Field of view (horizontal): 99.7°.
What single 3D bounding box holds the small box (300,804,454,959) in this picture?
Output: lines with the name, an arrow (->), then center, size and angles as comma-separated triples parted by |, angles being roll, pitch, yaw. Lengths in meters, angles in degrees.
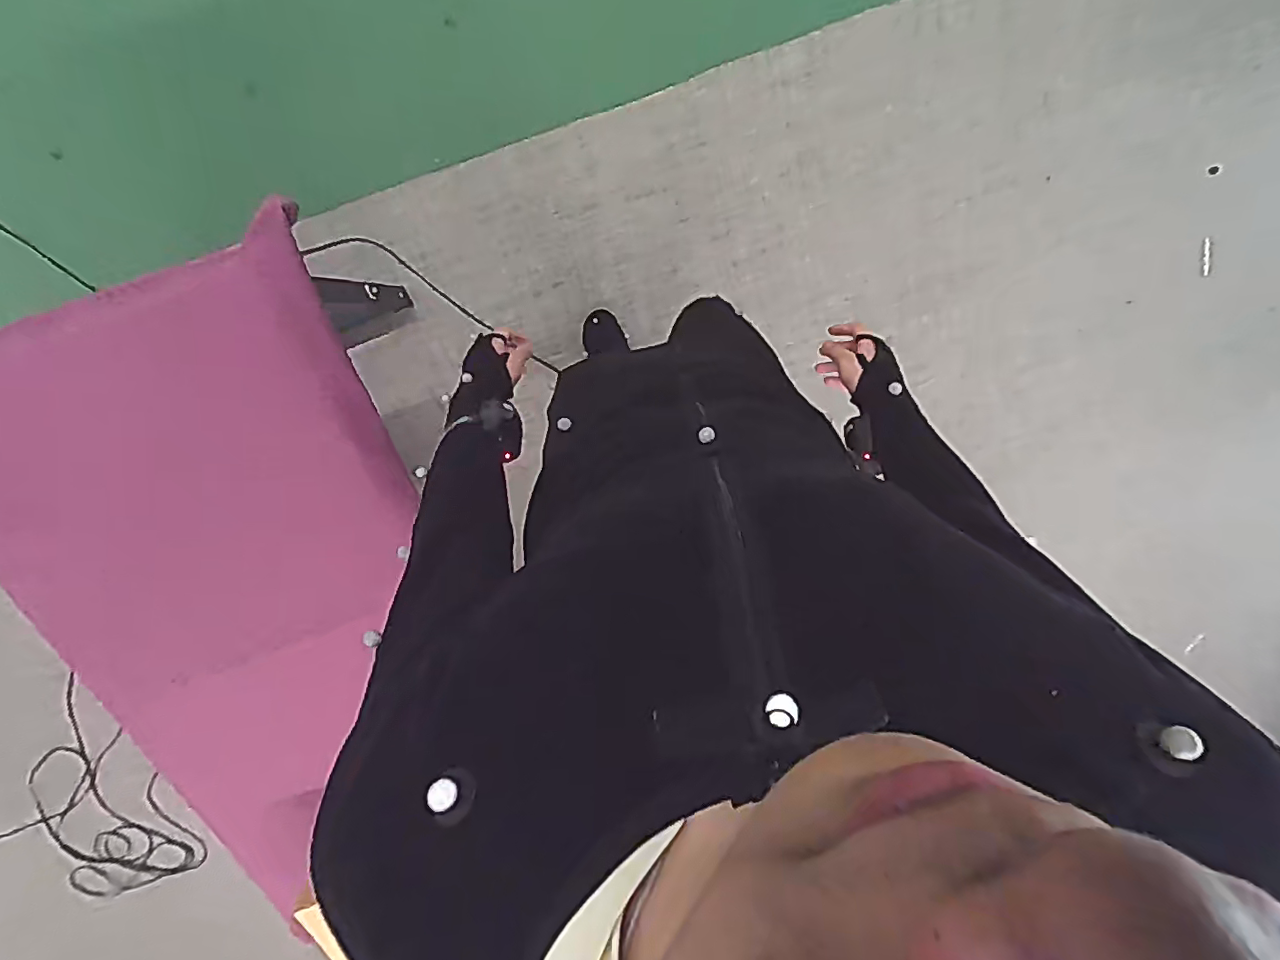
small box -> -0.466, 0.729, 0.988 | 0.168, 0.176, 0.179 | -19, 109, 2
